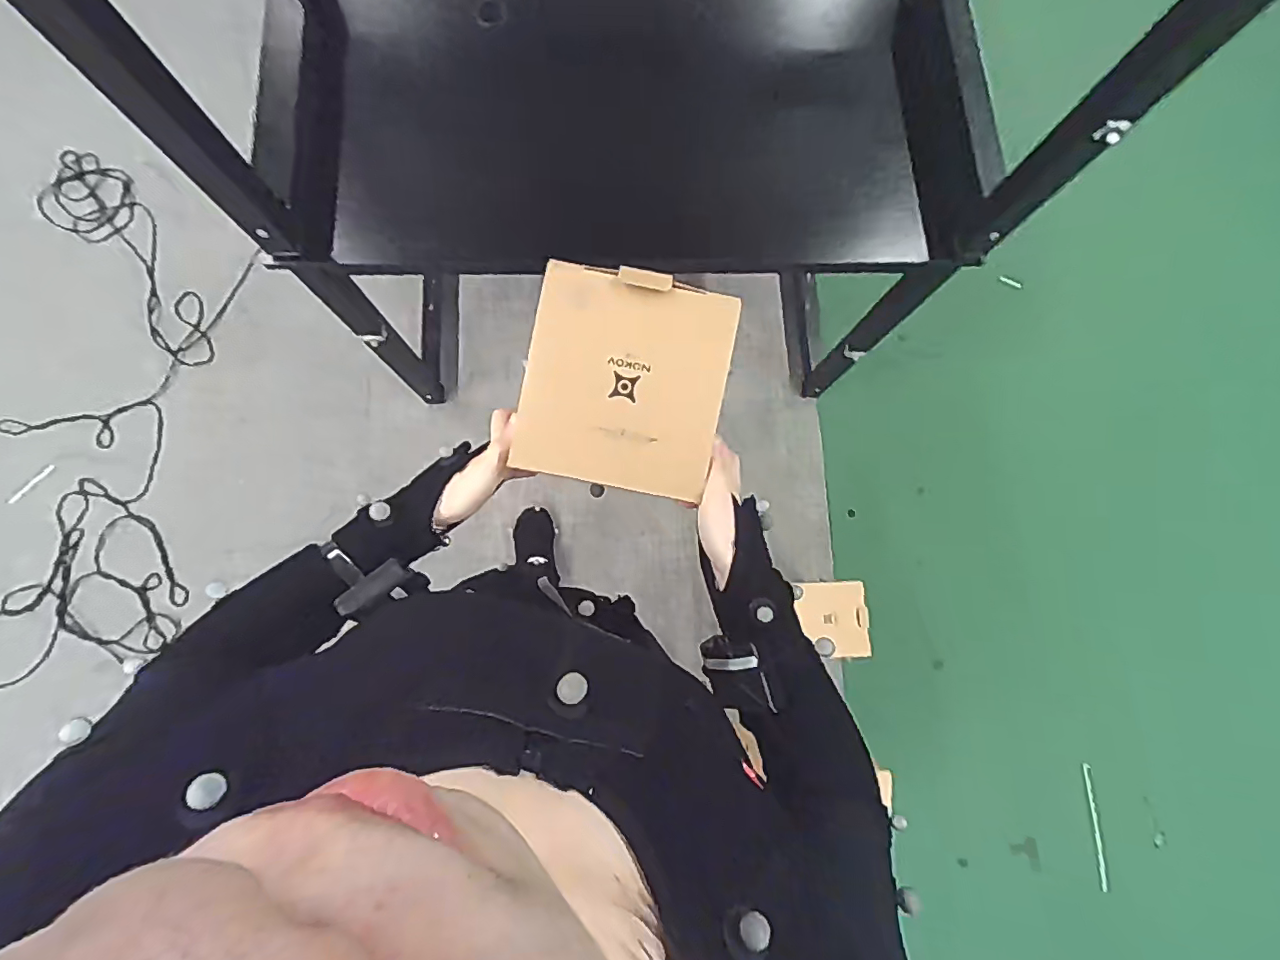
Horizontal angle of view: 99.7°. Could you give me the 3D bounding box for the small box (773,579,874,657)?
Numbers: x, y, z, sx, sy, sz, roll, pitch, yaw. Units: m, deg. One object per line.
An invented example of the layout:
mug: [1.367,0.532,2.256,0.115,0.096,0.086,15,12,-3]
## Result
small box: [0.420,0.321,1.272,0.179,0.176,0.168,-2,79,-5]
